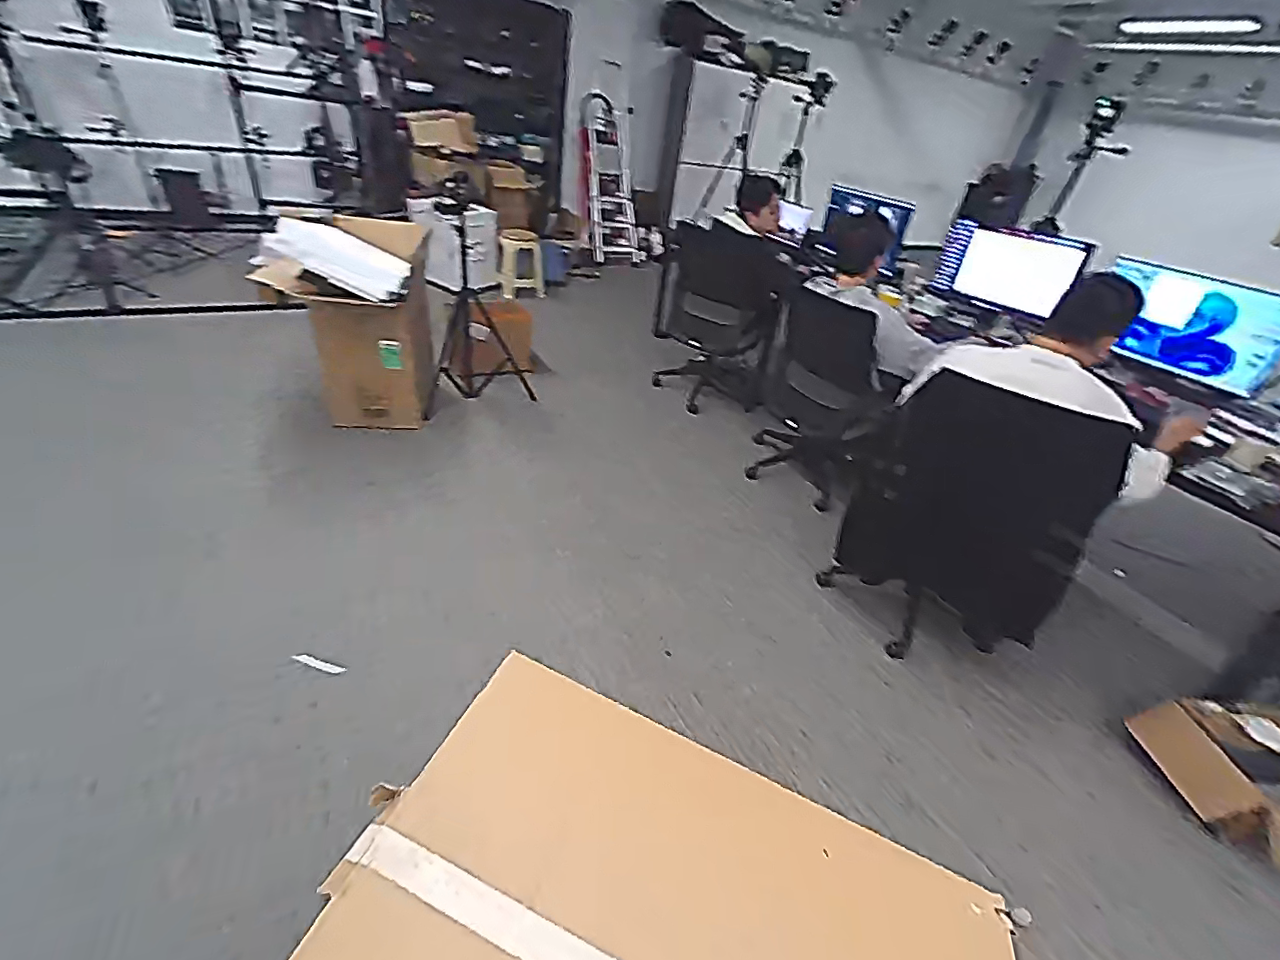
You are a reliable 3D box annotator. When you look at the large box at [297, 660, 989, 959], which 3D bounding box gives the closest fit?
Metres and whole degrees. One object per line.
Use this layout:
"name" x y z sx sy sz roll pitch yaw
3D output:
"large box" -0.020 0.412 0.386 0.408 0.320 0.320 24 36 7
